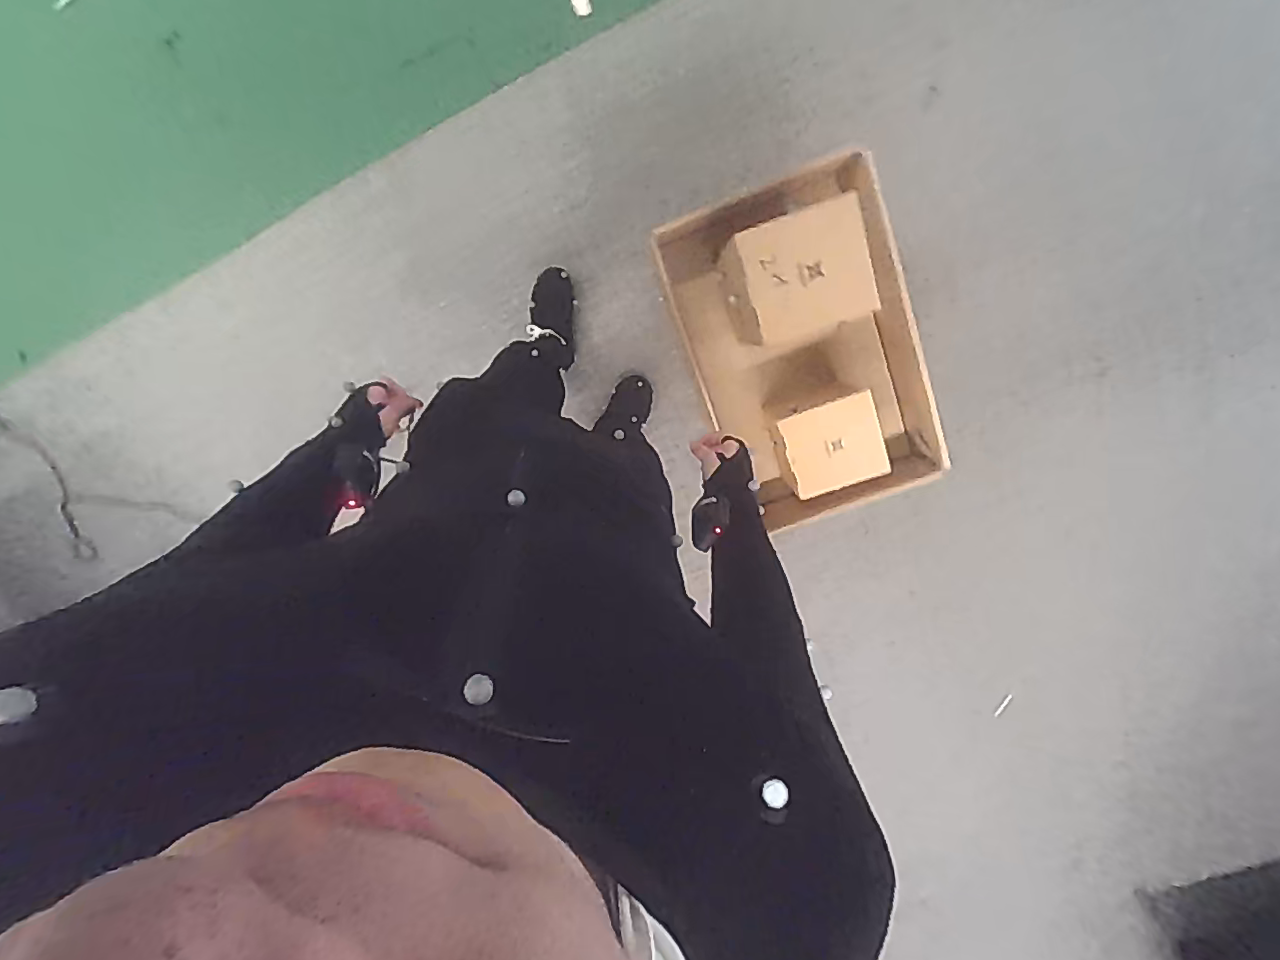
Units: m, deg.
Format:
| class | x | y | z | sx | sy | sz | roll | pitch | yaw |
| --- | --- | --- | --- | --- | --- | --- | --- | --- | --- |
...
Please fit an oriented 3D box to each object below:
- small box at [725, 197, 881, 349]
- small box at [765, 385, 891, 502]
| class | x | y | z | sx | sy | sz | roll | pitch | yaw |
| --- | --- | --- | --- | --- | --- | --- | --- | --- | --- |
| small box | 0.244 | -0.312 | 0.843 | 0.179 | 0.176 | 0.168 | -17 | 104 | 7 |
| small box | 0.365 | -0.080 | 1.075 | 0.179 | 0.176 | 0.168 | -19 | 104 | 8 |
